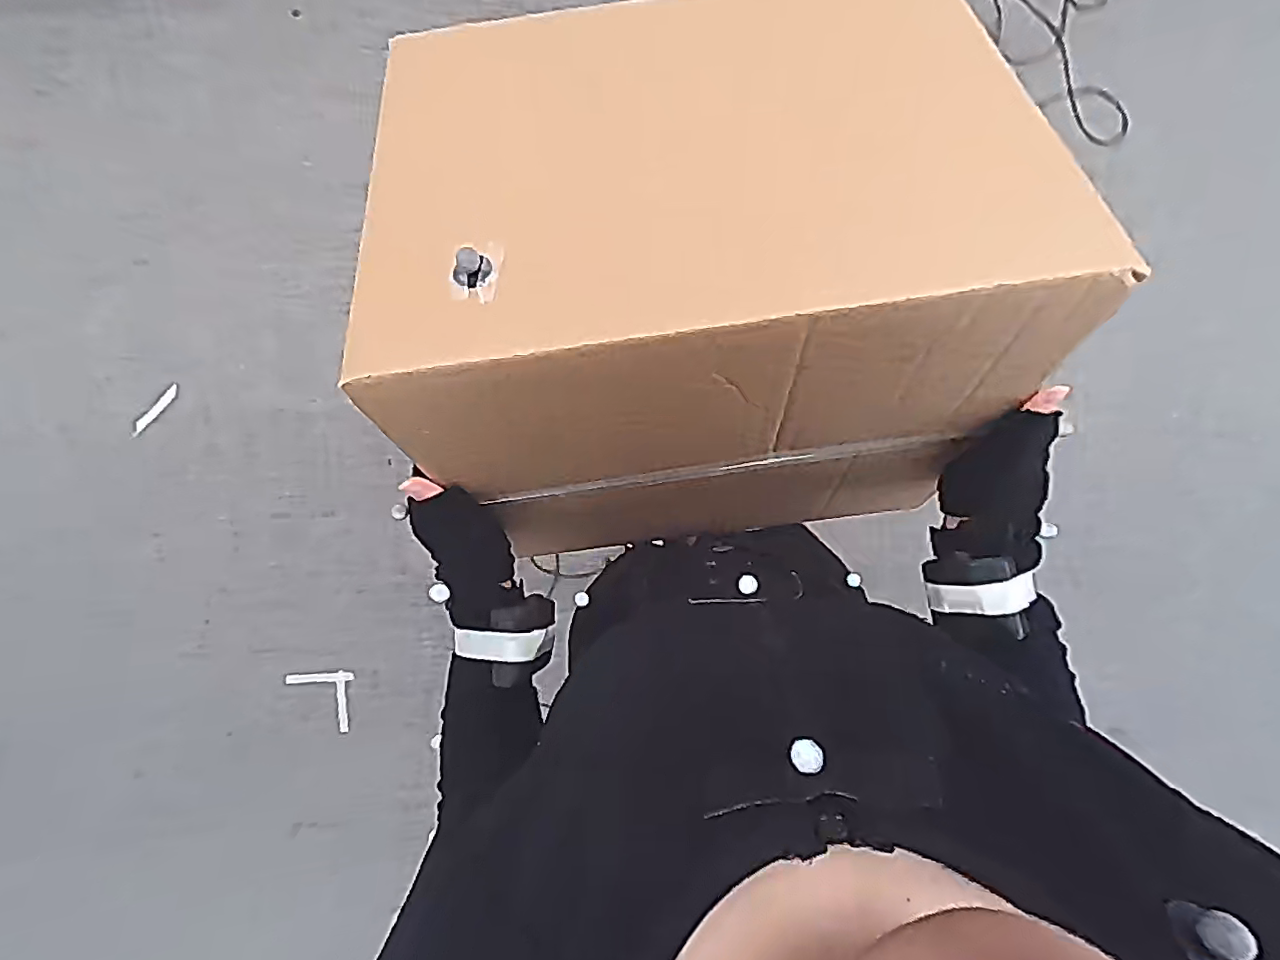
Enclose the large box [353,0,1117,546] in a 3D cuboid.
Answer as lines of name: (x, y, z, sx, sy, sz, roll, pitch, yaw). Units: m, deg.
large box: (0.038, -0.158, 0.473, 0.408, 0.320, 0.320, -8, 66, 2)
